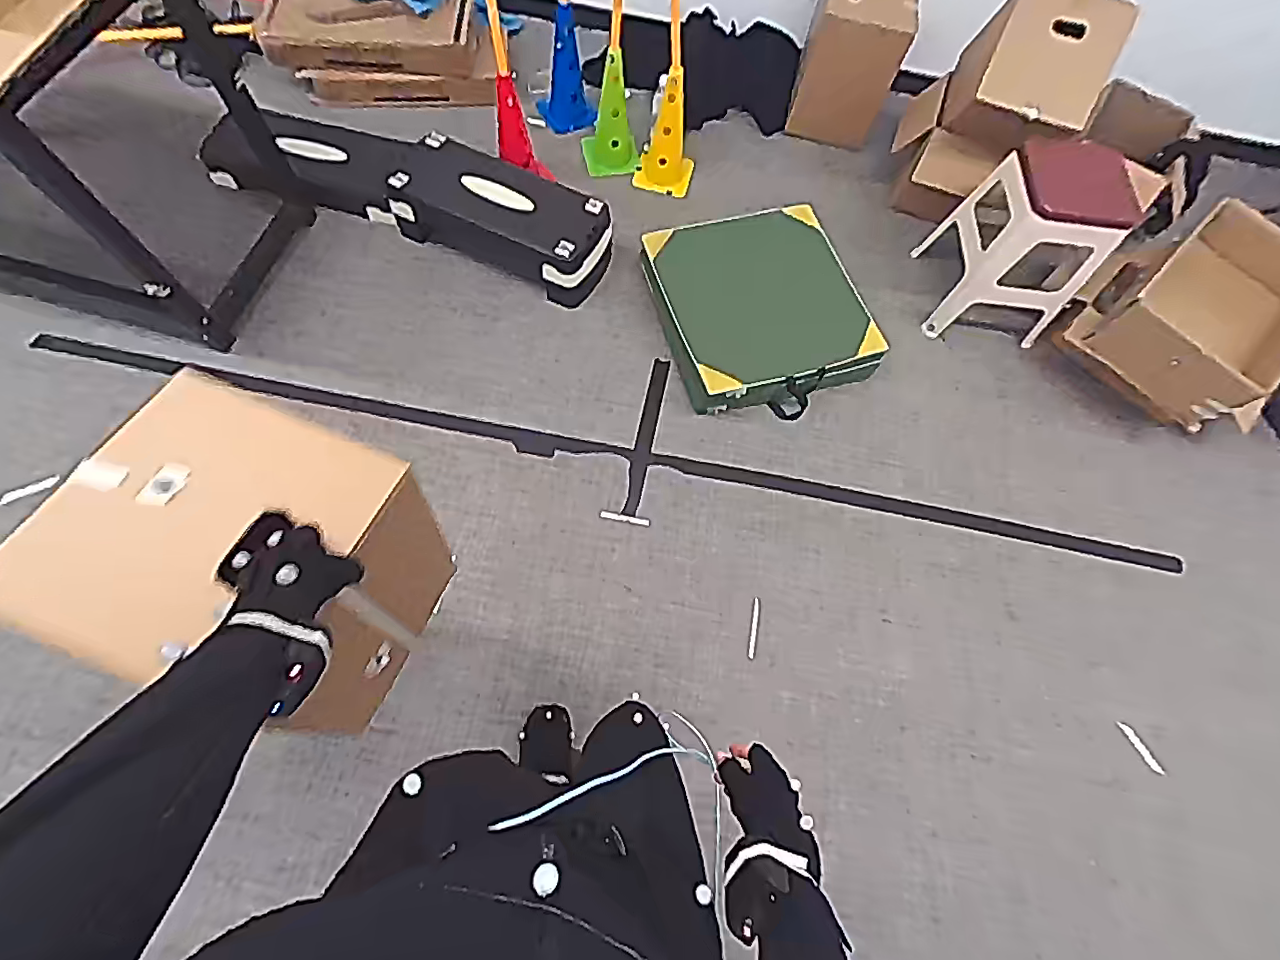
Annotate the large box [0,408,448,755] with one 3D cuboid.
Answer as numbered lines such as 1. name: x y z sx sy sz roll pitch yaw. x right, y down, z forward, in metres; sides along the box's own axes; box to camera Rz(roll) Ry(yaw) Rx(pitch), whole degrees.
1. large box: -0.512 0.166 0.761 0.320 0.408 0.320 22 62 0
